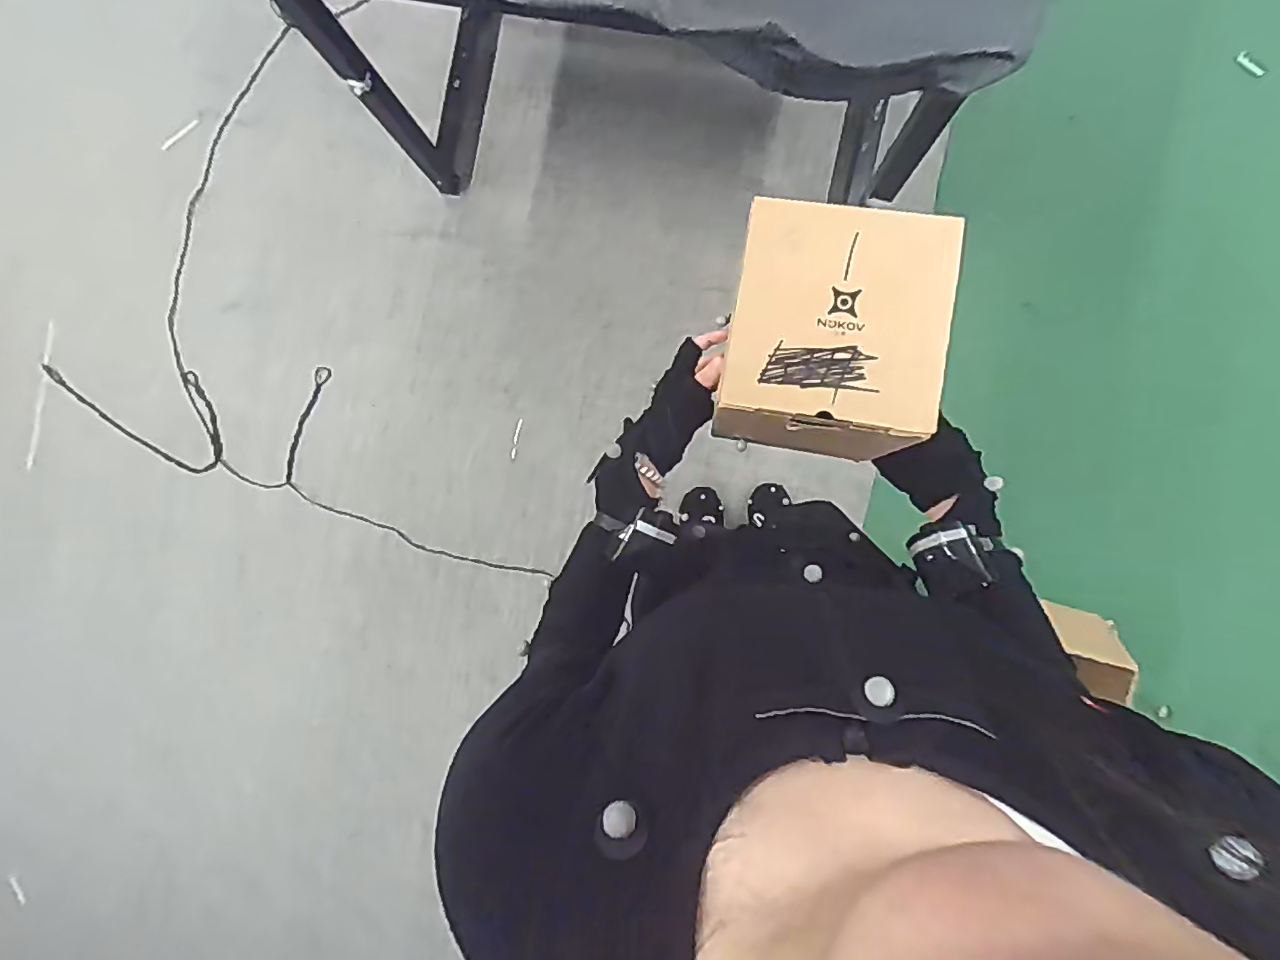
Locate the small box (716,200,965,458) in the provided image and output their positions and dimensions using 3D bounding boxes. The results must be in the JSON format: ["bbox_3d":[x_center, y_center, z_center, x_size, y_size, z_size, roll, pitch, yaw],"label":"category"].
[{"bbox_3d":[0.166,-0.123,0.503,0.168,0.176,0.179,10,86,6],"label":"small box"}]
